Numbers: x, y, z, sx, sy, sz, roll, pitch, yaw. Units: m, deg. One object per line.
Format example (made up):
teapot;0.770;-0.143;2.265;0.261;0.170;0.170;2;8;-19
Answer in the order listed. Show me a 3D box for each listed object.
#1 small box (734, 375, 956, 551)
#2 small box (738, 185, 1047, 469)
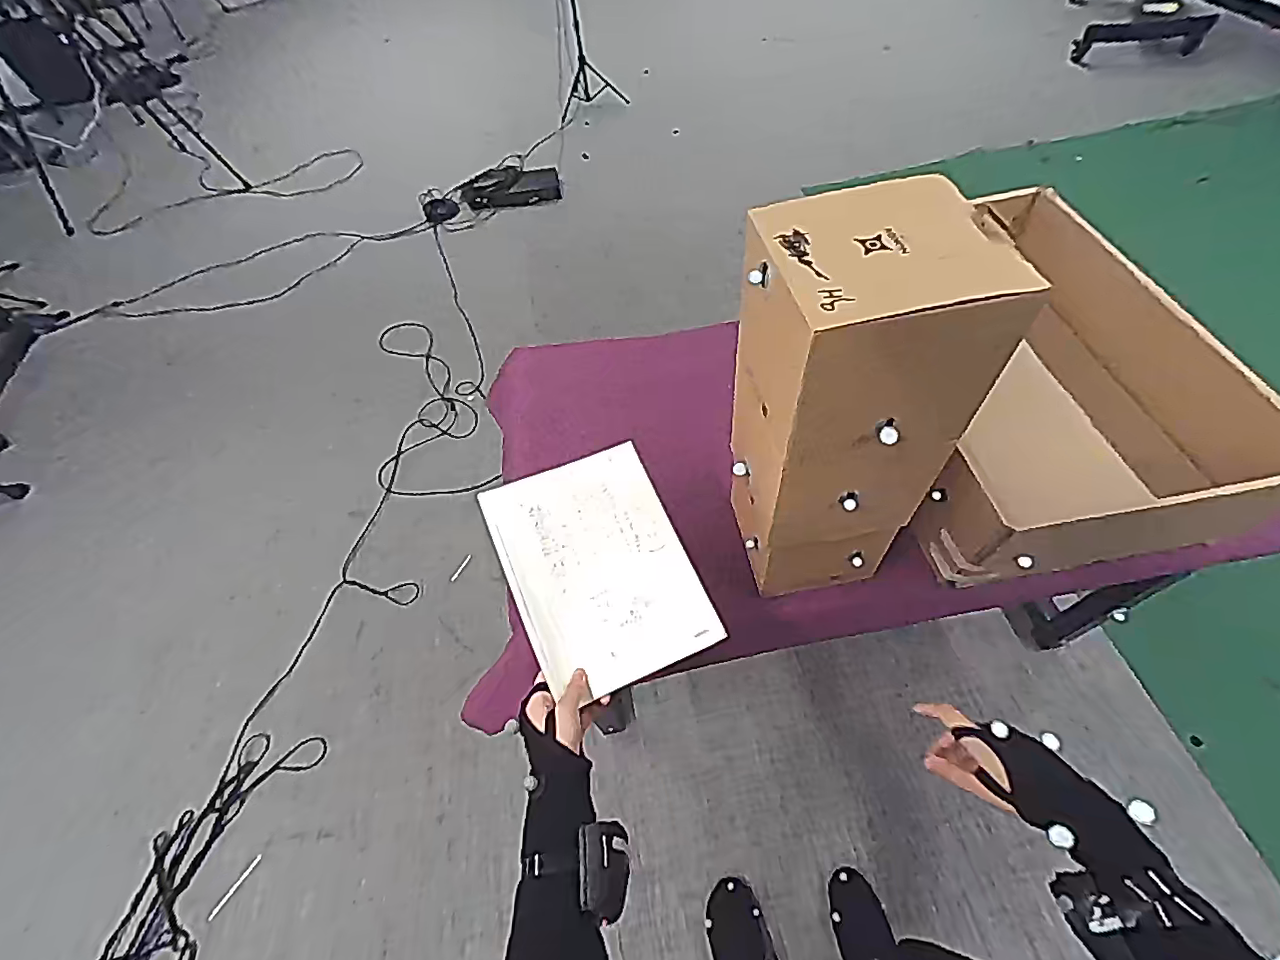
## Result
small box;0.213;-0.037;0.622;0.179;0.176;0.168;-10;54;1
small box;0.196;-0.131;0.487;0.179;0.176;0.168;-10;54;-1
